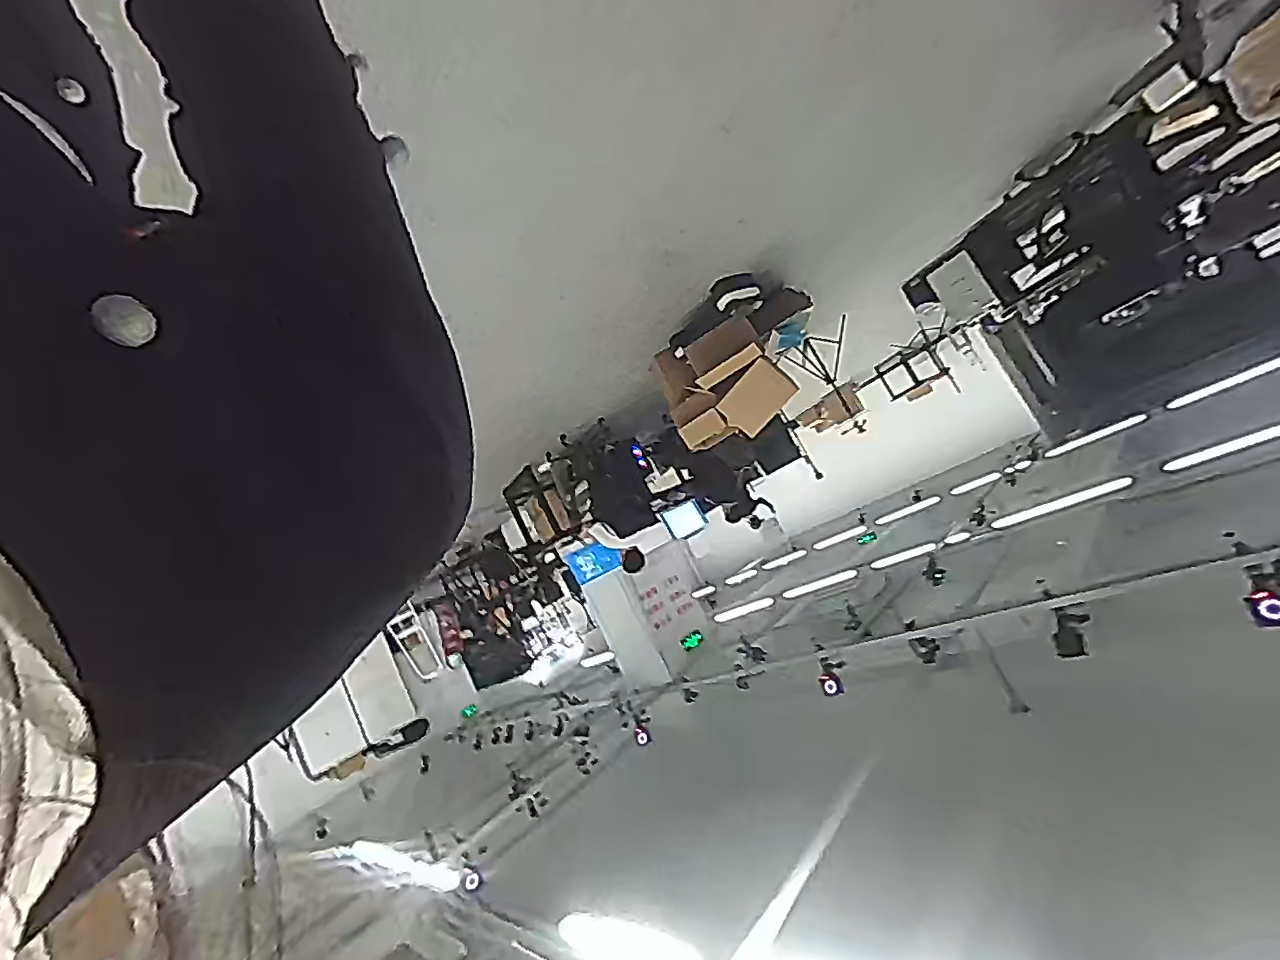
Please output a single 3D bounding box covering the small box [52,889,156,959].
[{"bbox_3d":[-1.522,1.315,1.540,0.168,0.176,0.179,-21,168,-41],"label":"small box"}]
